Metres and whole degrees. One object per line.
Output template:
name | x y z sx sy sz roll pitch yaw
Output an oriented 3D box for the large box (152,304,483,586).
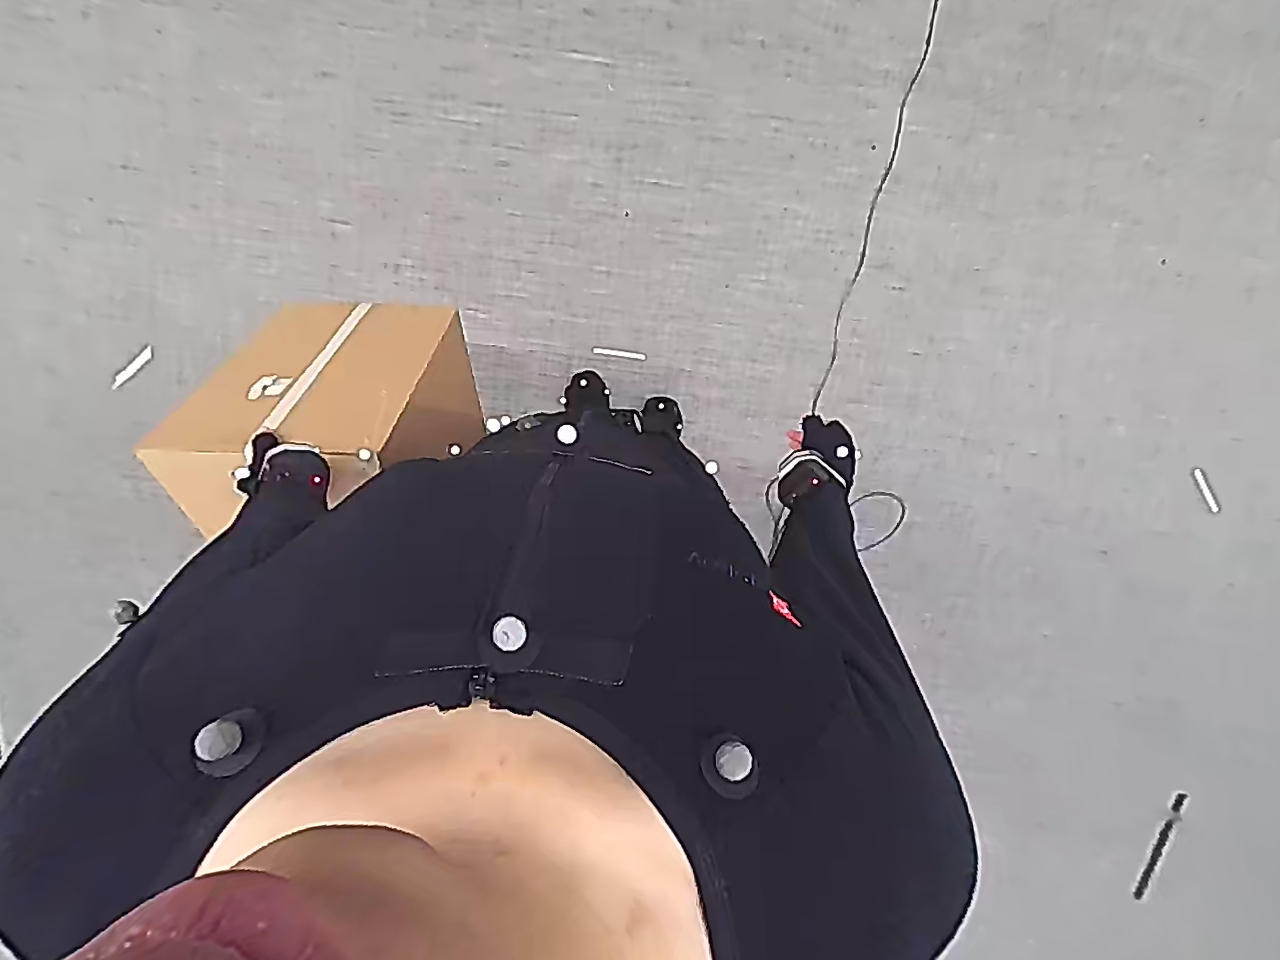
large box | -0.492 -0.069 0.953 0.320 0.408 0.320 1 136 1
